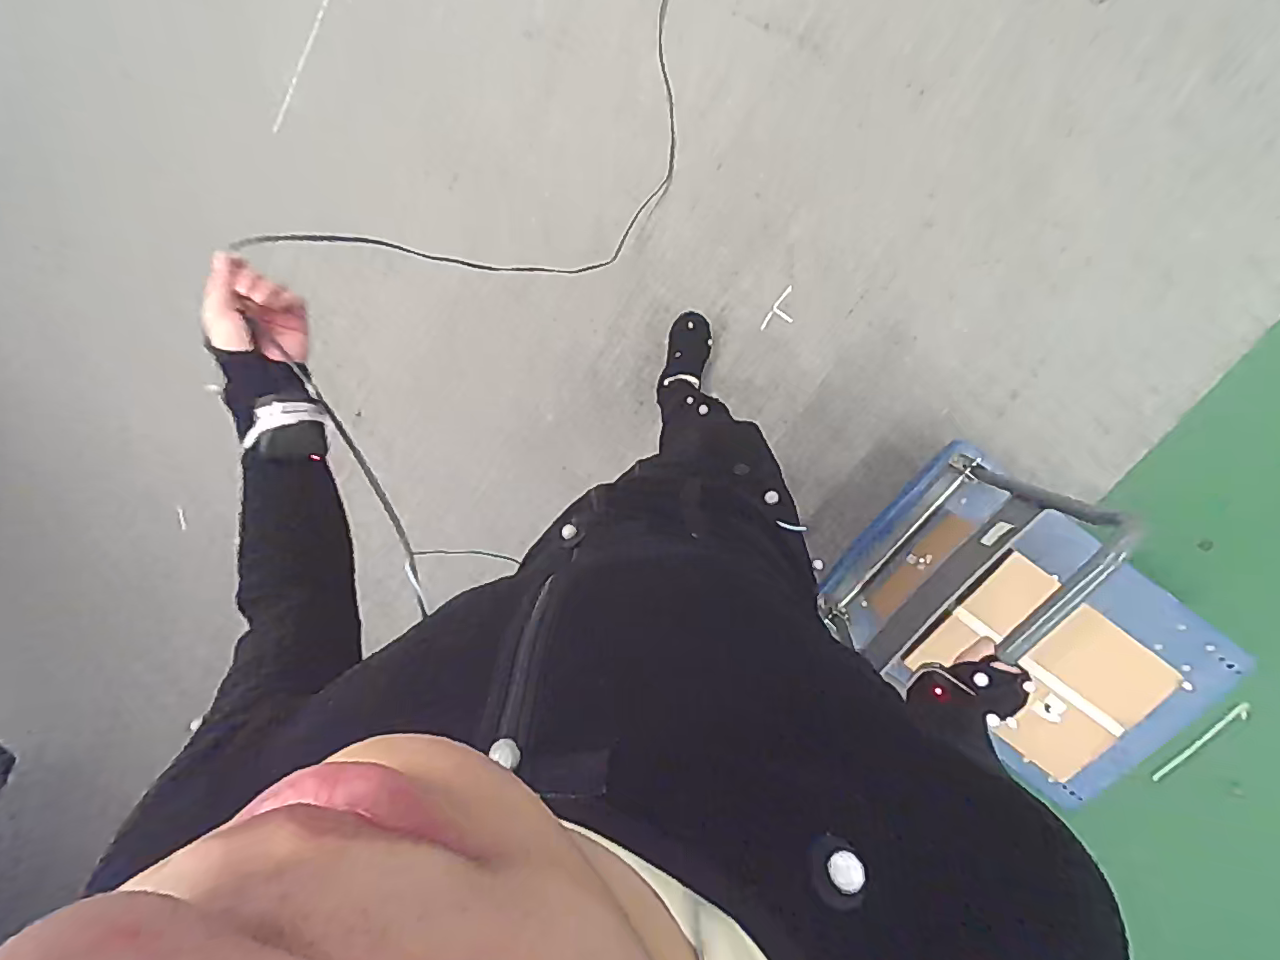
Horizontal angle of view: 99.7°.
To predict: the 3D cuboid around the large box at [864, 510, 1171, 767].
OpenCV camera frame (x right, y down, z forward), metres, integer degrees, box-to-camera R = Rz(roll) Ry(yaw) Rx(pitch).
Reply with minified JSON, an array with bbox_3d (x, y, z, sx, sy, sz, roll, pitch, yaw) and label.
[{"bbox_3d":[0.796,0.327,1.218,0.408,0.320,0.320,37,105,0],"label":"large box"}]
